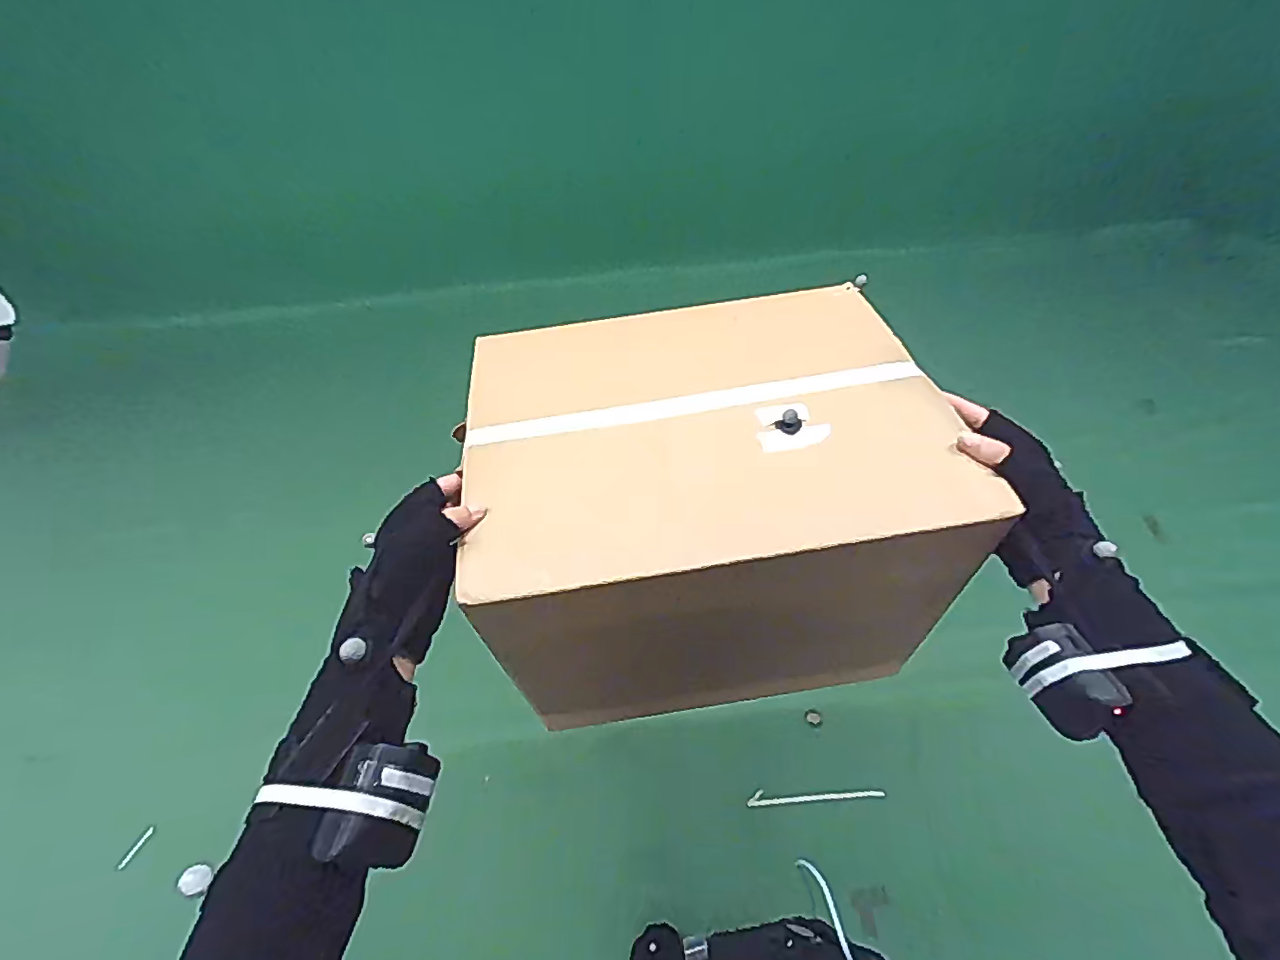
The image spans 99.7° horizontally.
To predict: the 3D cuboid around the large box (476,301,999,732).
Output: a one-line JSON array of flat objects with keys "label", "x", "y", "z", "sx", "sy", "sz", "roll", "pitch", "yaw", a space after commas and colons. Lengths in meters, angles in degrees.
[{"label": "large box", "x": 0.061, "y": 0.043, "z": 0.600, "sx": 0.408, "sy": 0.320, "sz": 0.320, "roll": -9, "pitch": 50, "yaw": -3}]
